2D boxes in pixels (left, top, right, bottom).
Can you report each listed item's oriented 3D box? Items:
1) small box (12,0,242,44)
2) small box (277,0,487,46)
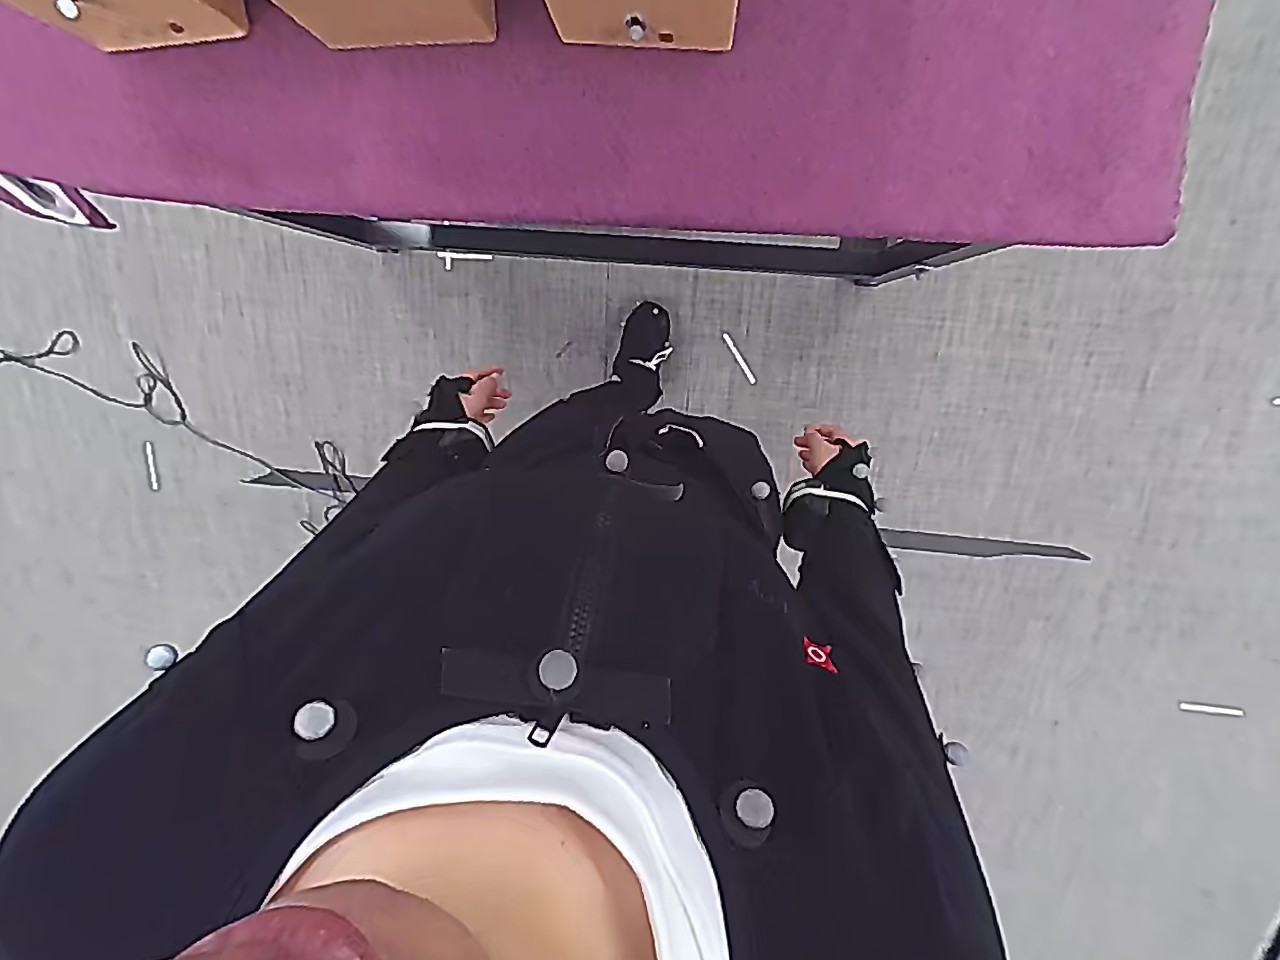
[{"bbox_3d":[-0.488,-0.512,0.463,0.168,0.176,0.179,-2,104,5],"label":"small box"},{"bbox_3d":[-0.233,-0.493,0.442,0.179,0.176,0.168,1,104,4],"label":"small box"}]
